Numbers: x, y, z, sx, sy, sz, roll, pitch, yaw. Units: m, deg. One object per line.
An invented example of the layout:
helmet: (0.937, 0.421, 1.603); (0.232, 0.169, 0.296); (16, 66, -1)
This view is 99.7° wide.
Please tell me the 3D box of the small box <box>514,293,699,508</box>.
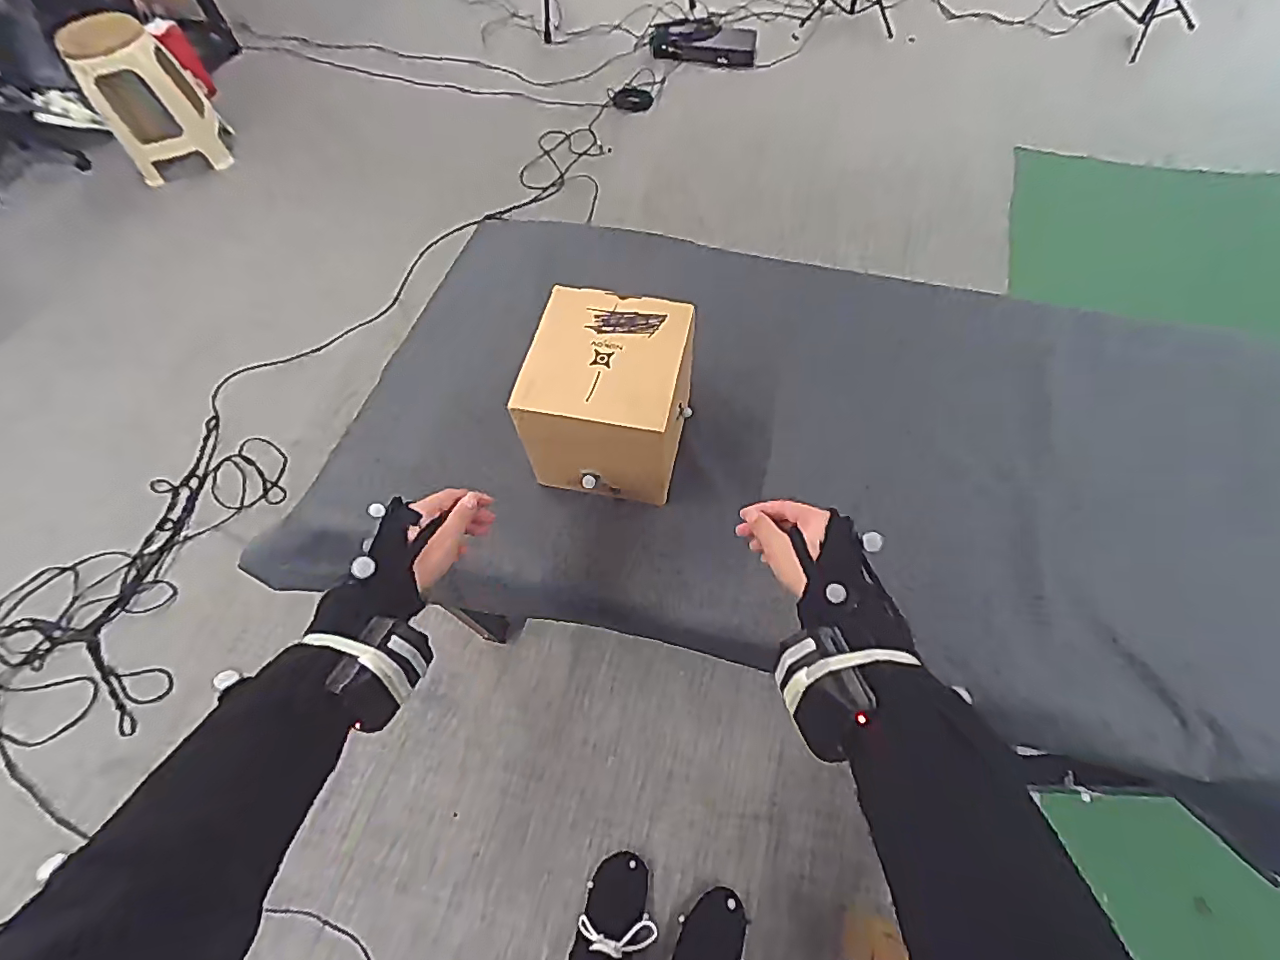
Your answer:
small box: (-0.029, -0.090, 0.646); (0.168, 0.176, 0.179); (10, 62, 8)

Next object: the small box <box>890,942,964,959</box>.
small box: (0.473, 0.798, 0.768); (0.179, 0.176, 0.168); (11, 62, 9)
